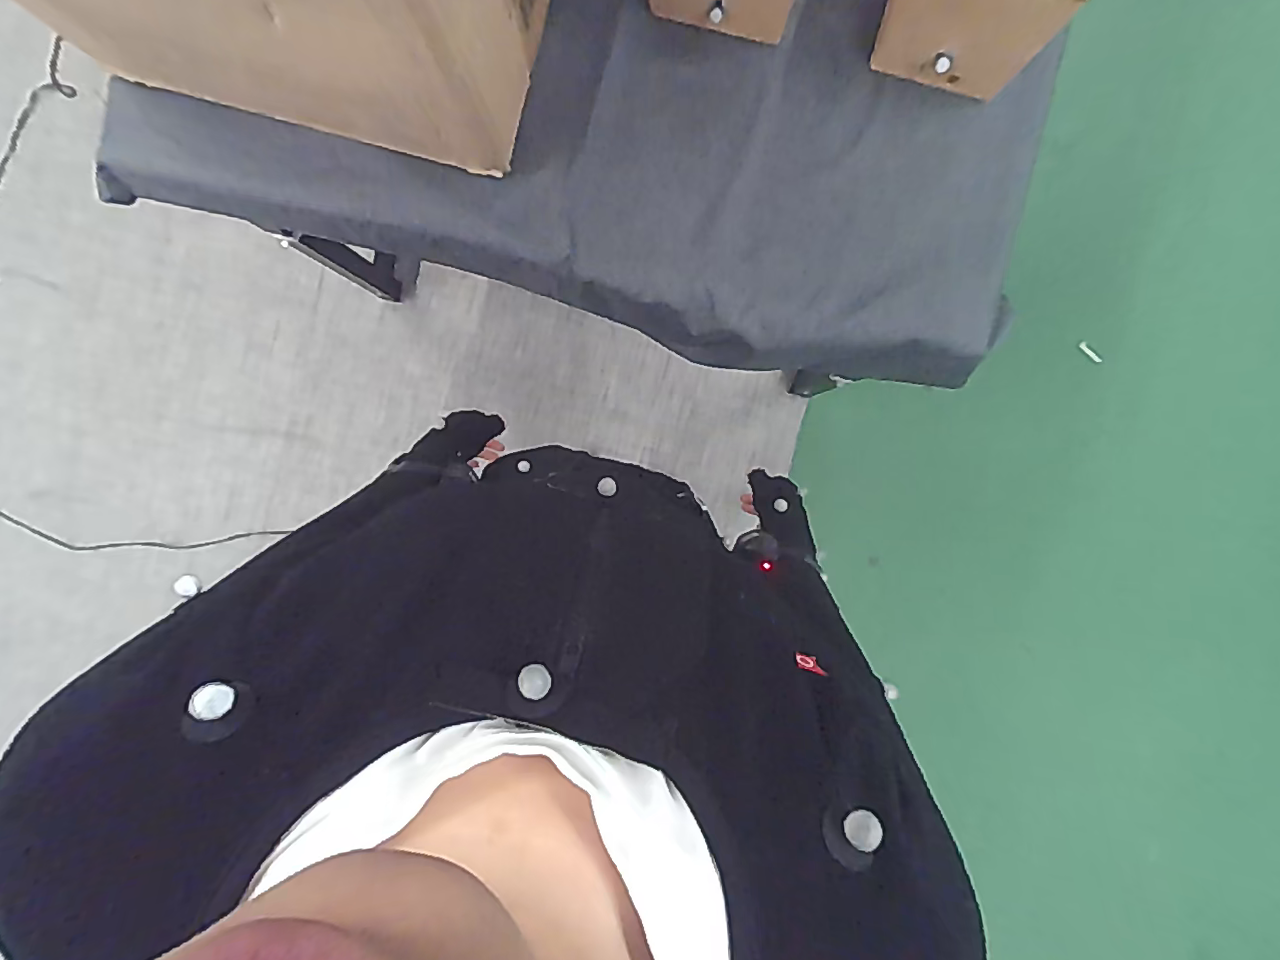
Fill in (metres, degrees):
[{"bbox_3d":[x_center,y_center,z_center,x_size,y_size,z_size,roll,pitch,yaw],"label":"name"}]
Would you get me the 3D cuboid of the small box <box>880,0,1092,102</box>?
[{"bbox_3d":[0.408,-0.596,0.628,0.168,0.176,0.179,16,94,0],"label":"small box"}]
